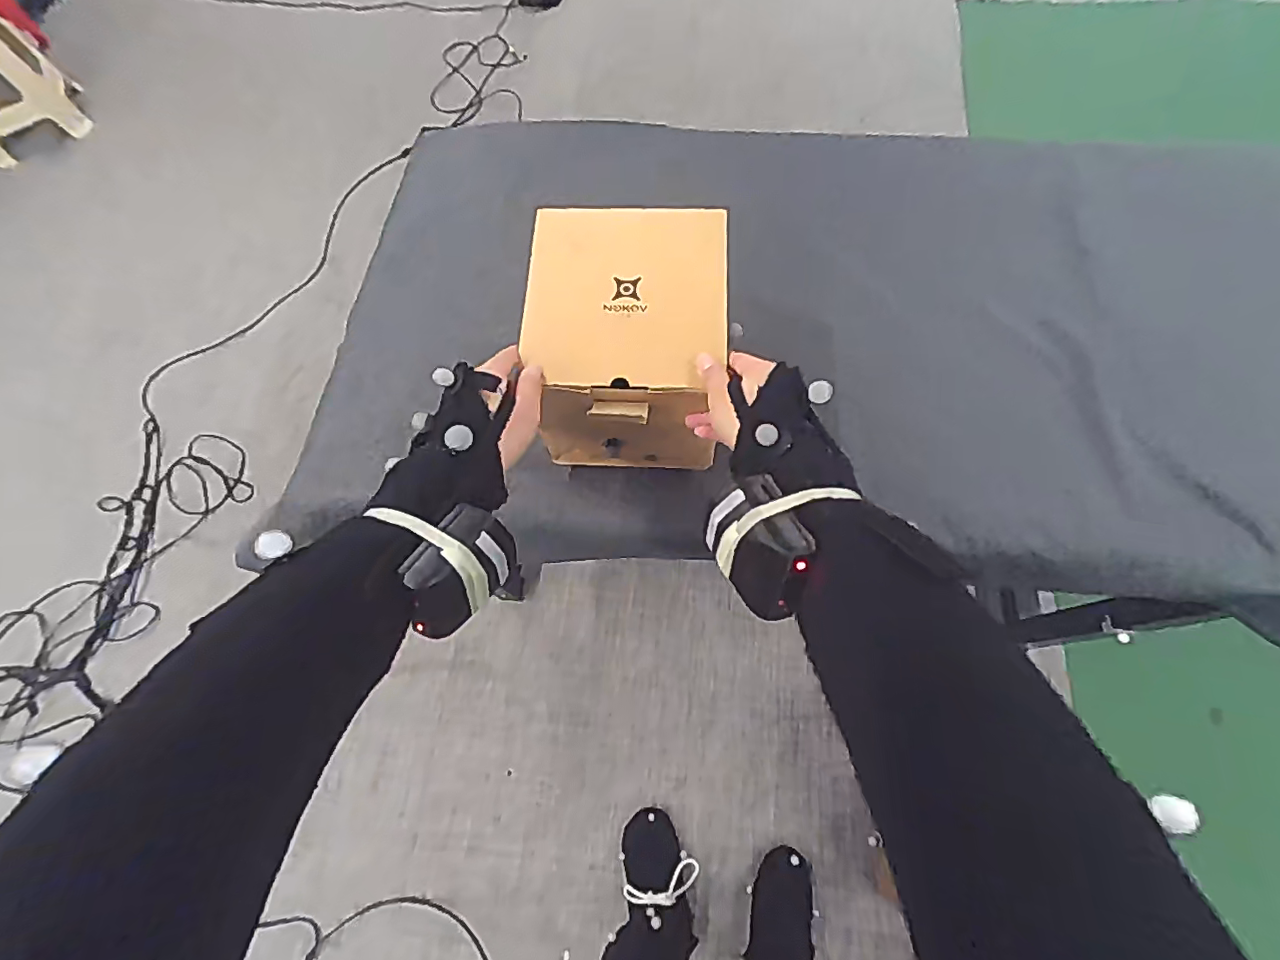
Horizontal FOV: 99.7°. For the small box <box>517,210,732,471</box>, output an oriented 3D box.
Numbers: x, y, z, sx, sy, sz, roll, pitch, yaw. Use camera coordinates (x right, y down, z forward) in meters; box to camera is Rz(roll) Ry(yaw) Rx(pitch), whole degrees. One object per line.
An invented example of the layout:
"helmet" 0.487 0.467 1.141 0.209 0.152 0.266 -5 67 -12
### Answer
"small box" -0.007 -0.120 0.508 0.168 0.176 0.179 1 71 3
